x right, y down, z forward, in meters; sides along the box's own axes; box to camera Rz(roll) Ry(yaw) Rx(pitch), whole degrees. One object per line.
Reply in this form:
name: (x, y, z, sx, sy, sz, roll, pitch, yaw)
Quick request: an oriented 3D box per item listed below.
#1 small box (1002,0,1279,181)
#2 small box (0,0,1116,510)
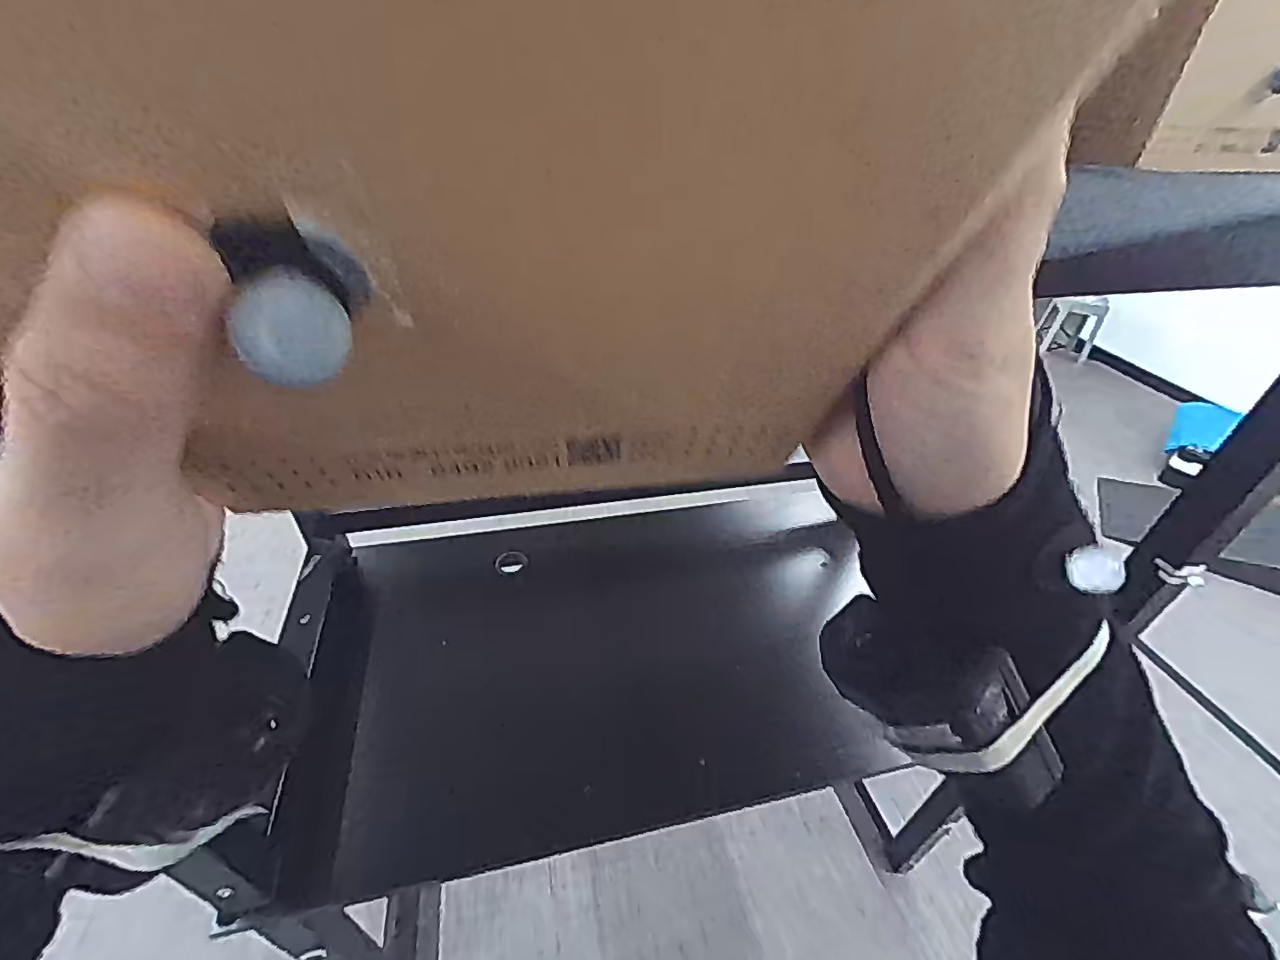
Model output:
small box: (0.381, -0.324, 0.388, 0.168, 0.176, 0.179, -7, 38, -10)
small box: (-0.035, -0.098, 0.125, 0.168, 0.176, 0.179, -4, 67, -7)
